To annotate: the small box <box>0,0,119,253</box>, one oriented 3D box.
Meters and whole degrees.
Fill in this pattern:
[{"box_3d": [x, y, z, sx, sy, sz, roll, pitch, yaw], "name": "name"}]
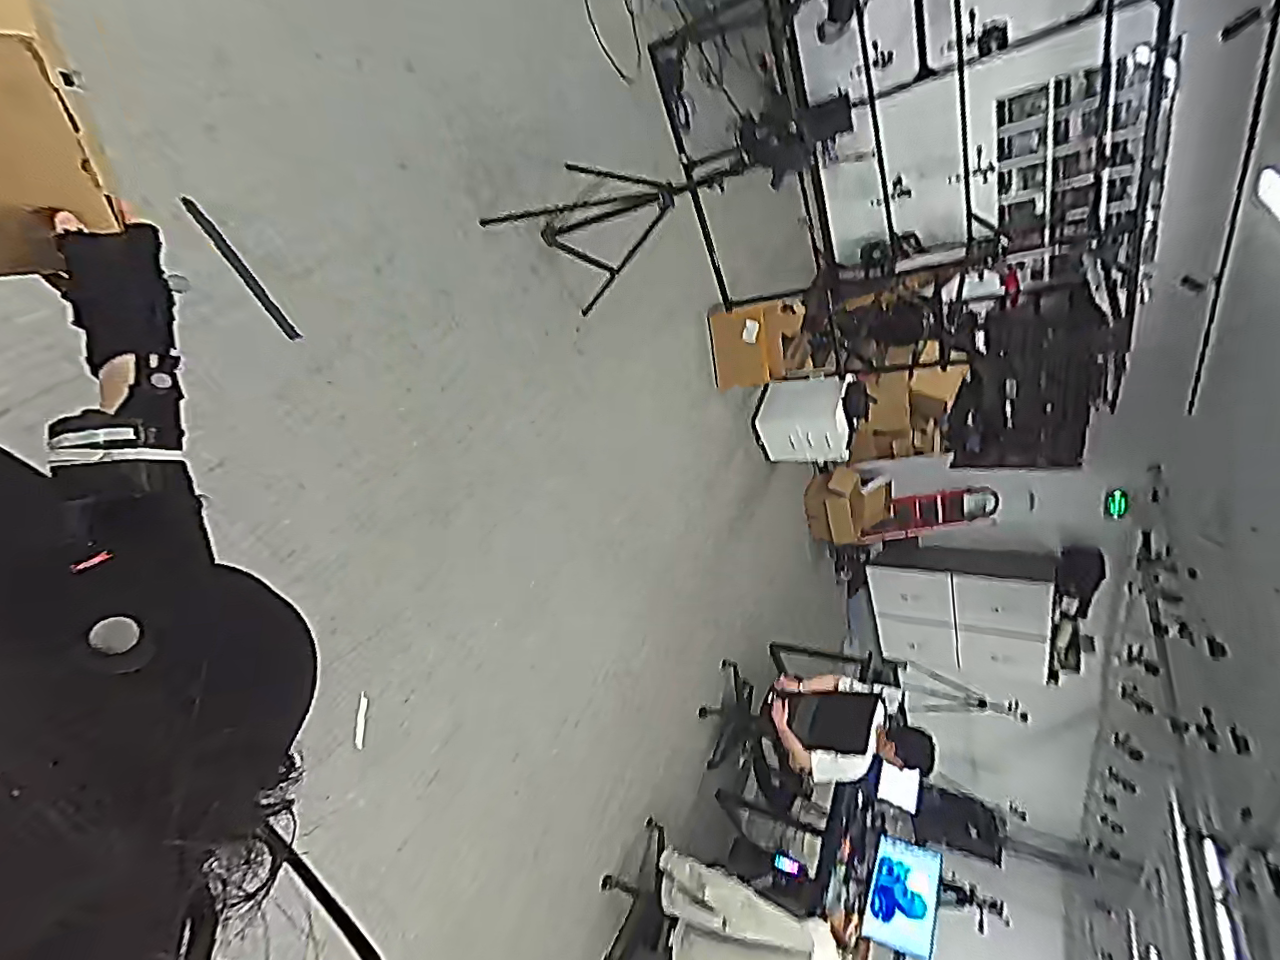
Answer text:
[{"box_3d": [-0.538, -0.283, 0.393, 0.179, 0.176, 0.168, -21, 146, -32], "name": "small box"}]
